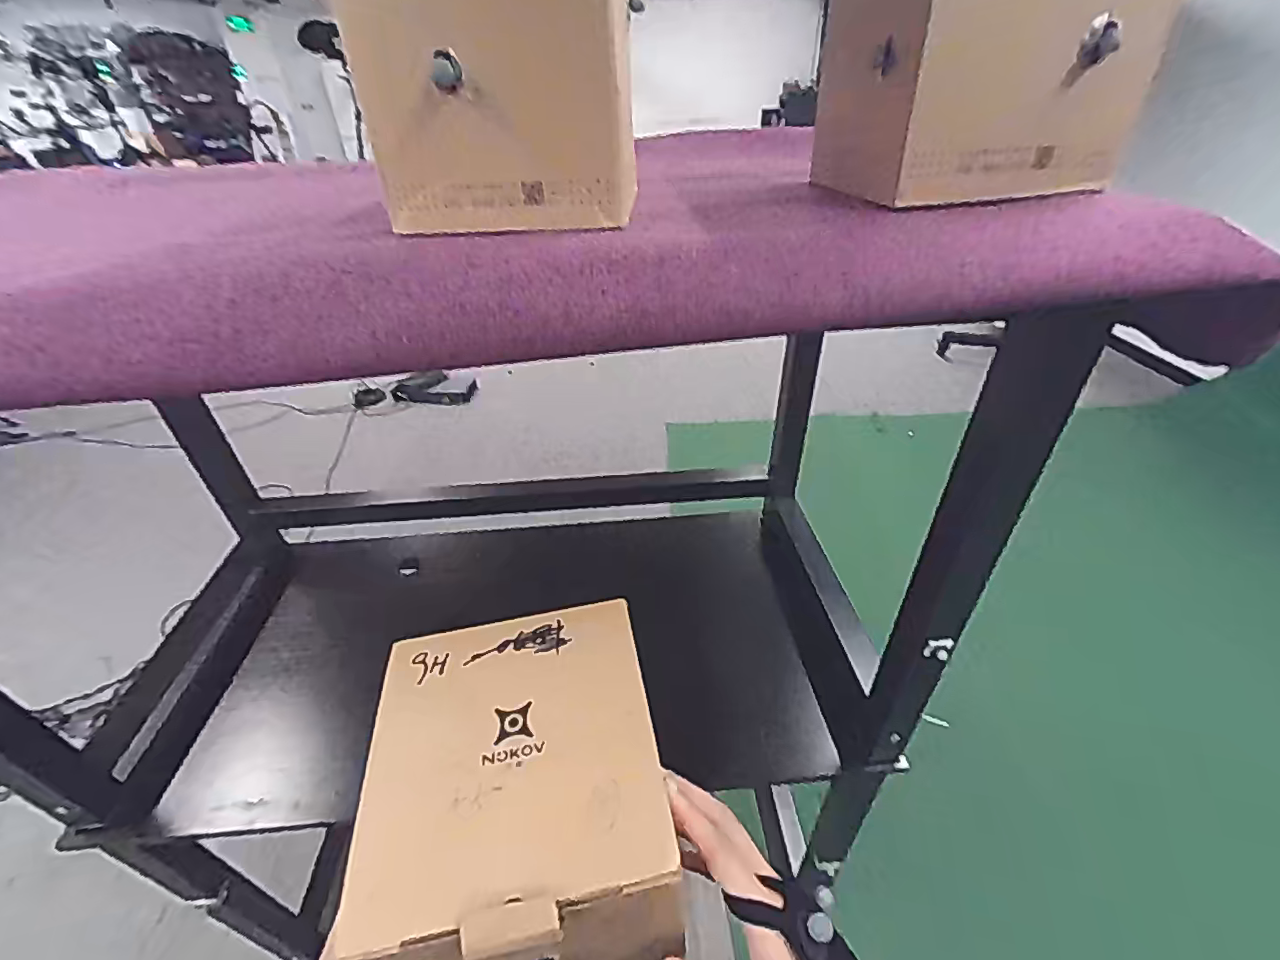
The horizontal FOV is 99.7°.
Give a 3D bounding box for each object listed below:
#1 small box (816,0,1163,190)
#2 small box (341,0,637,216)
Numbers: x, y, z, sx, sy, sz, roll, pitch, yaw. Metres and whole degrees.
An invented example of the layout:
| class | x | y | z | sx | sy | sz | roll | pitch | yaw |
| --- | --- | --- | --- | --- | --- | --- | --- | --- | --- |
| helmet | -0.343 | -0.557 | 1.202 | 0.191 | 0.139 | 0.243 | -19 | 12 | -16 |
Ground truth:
| class | x | y | z | sx | sy | sz | roll | pitch | yaw |
| --- | --- | --- | --- | --- | --- | --- | --- | --- | --- |
| small box | 0.251 | -0.324 | 0.414 | 0.168 | 0.176 | 0.179 | -5 | 35 | -3 |
| small box | -0.089 | -0.296 | 0.396 | 0.168 | 0.176 | 0.179 | 0 | 35 | 2 |
